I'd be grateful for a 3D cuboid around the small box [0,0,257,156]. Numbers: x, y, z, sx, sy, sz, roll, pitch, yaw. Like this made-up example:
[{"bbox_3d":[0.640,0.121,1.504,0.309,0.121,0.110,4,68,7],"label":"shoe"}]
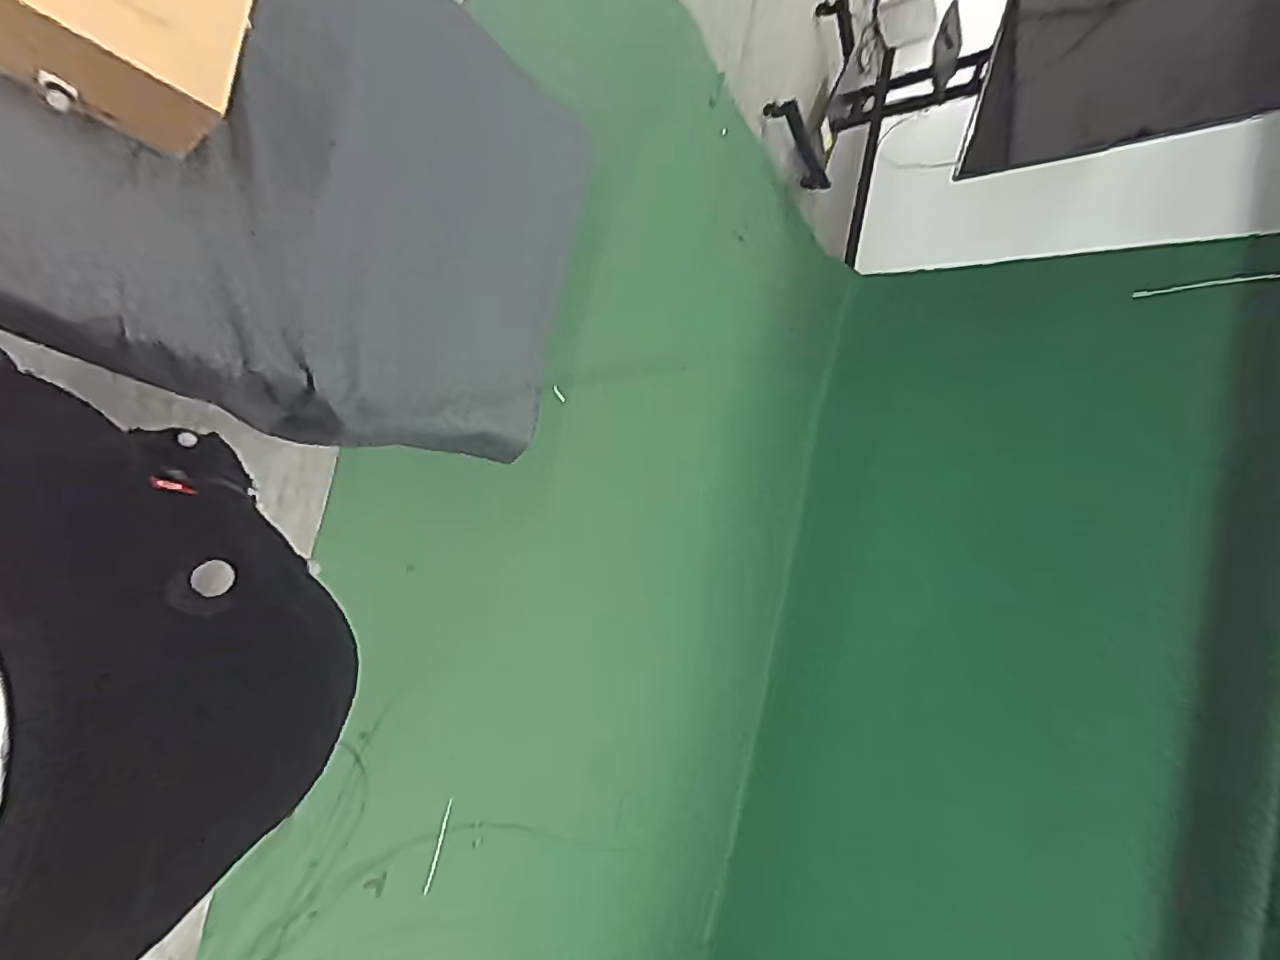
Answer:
[{"bbox_3d":[-0.470,-0.434,0.482,0.168,0.176,0.179,13,88,-51],"label":"small box"}]
